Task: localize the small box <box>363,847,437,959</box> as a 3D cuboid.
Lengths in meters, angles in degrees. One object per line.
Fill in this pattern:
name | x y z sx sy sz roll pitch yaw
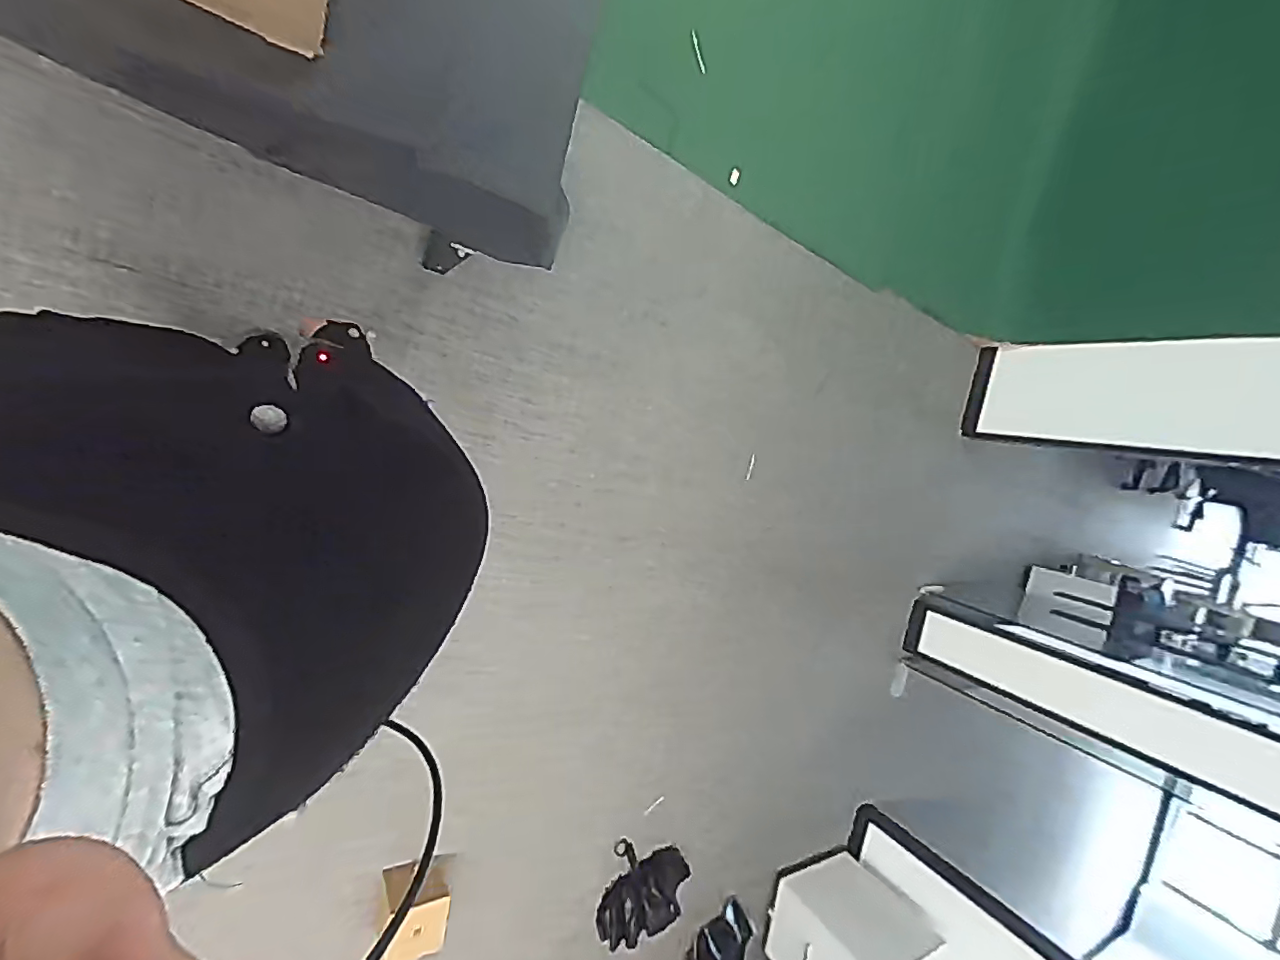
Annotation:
small box | -0.720 1.253 1.613 0.168 0.176 0.179 5 96 -36
